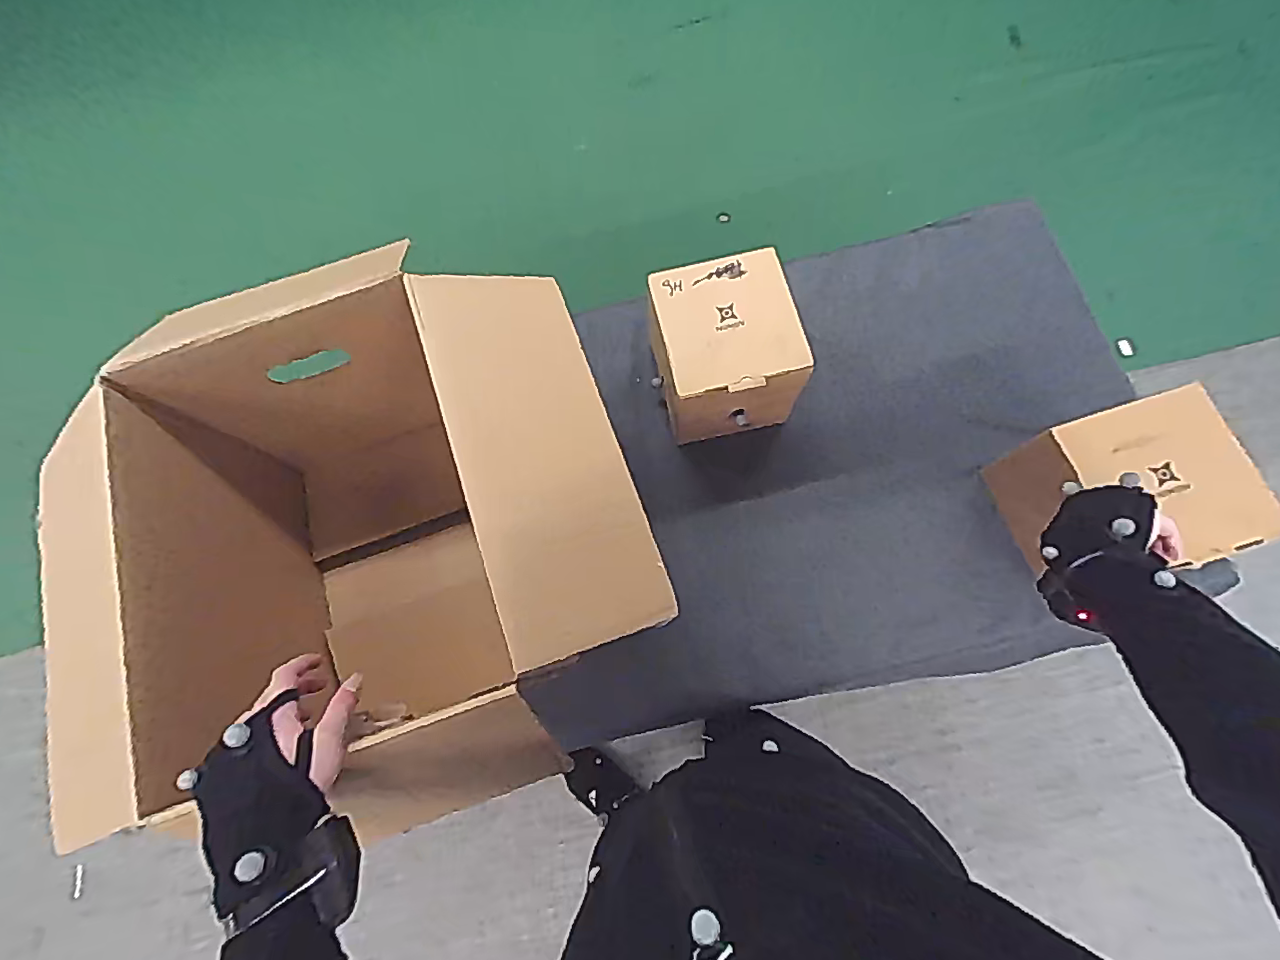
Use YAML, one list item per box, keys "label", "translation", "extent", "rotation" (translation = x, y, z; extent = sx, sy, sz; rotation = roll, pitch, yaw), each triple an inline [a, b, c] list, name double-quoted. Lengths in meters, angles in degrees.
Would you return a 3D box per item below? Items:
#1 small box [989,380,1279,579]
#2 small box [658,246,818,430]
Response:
- label: "small box"
  translation: [0.569, 0.013, 0.647]
  extent: [0.168, 0.176, 0.179]
  rotation: [-18, 73, 2]
- label: "small box"
  translation: [0.123, -0.179, 0.741]
  extent: [0.168, 0.176, 0.179]
  rotation: [-12, 75, 0]
